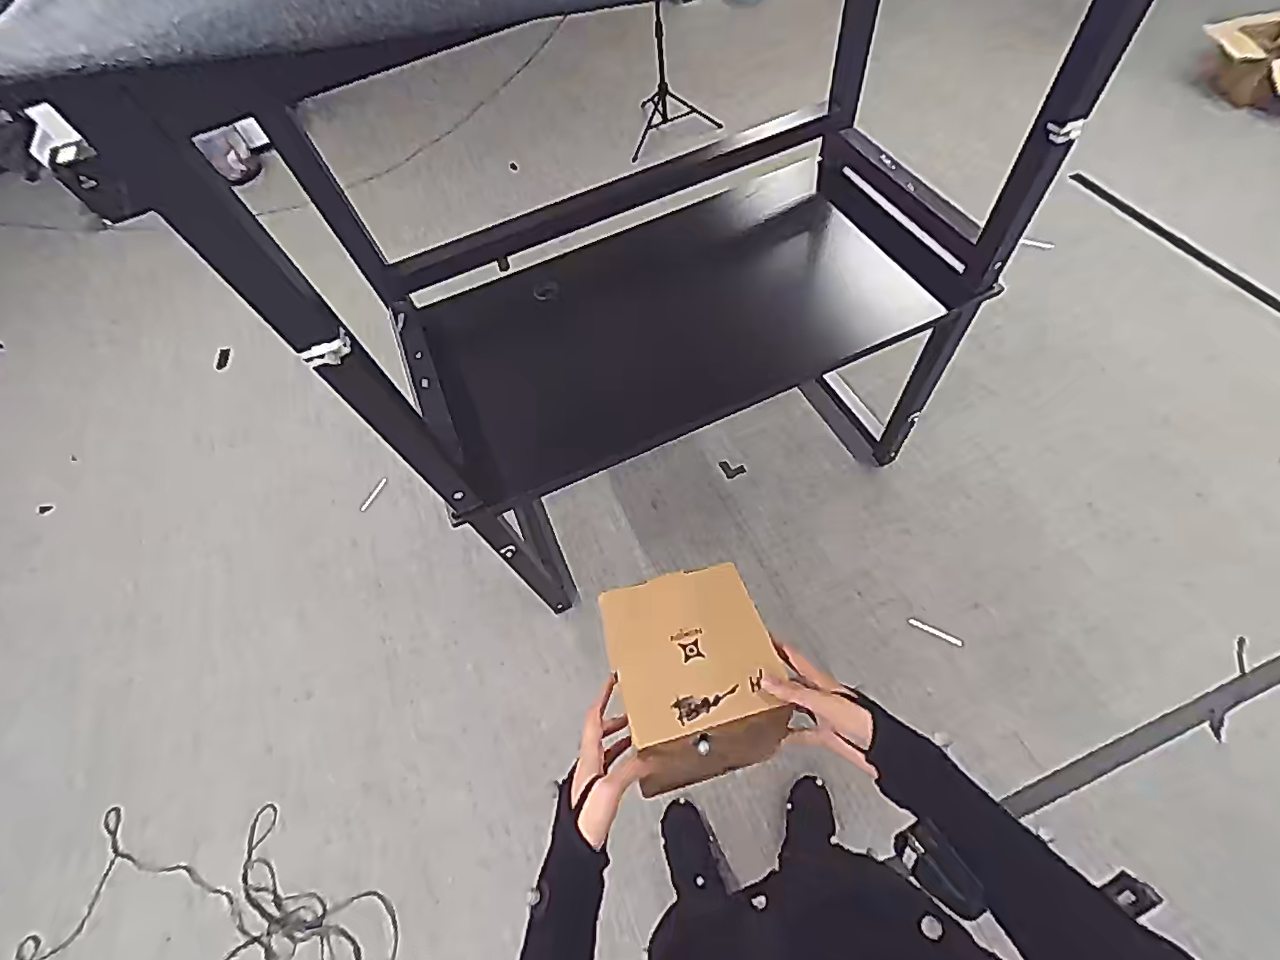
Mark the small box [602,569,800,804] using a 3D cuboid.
[{"bbox_3d":[0.058,0.235,0.620,0.168,0.176,0.179,-13,46,-8],"label":"small box"}]
